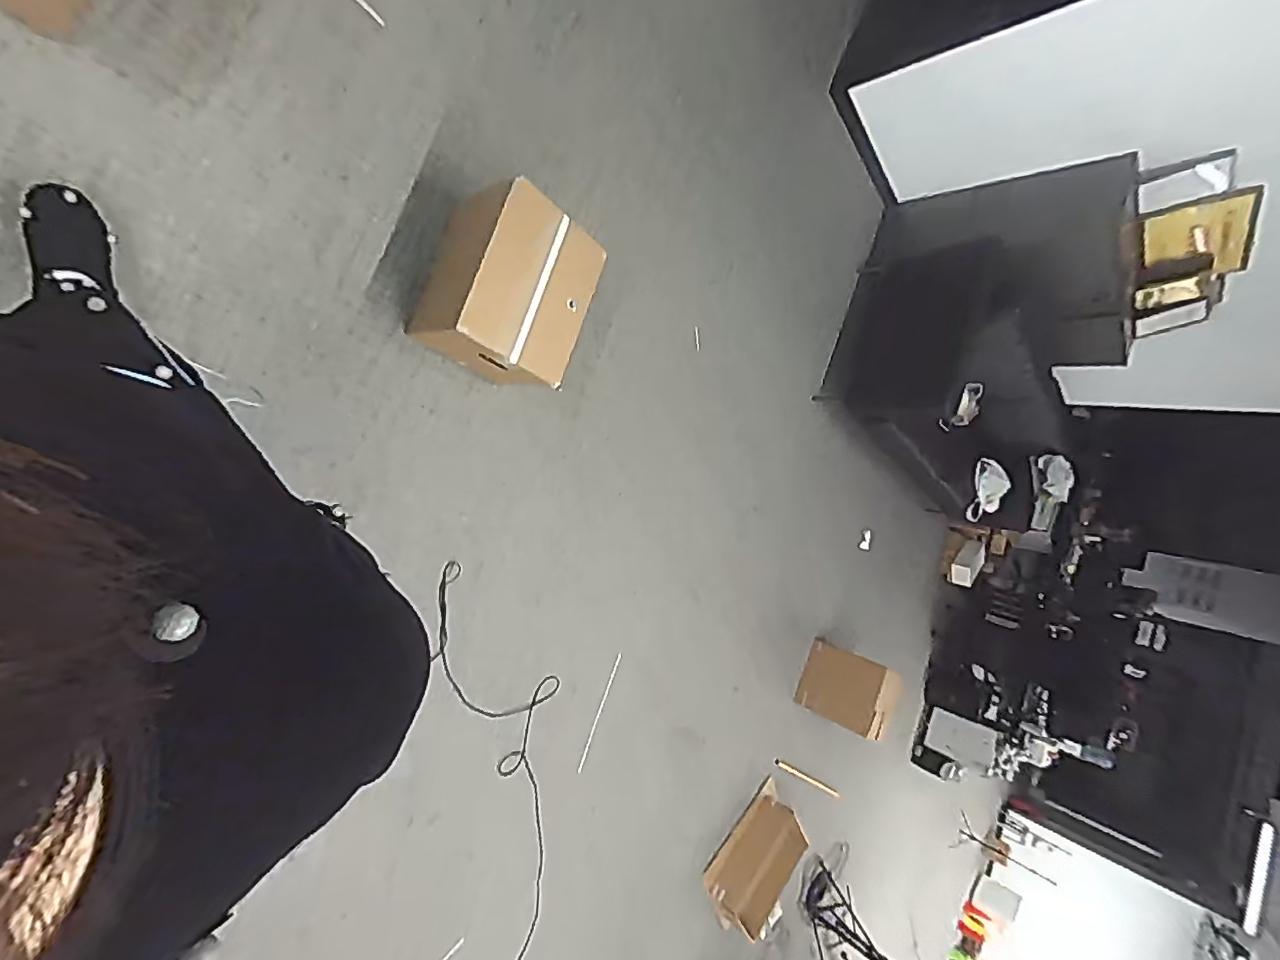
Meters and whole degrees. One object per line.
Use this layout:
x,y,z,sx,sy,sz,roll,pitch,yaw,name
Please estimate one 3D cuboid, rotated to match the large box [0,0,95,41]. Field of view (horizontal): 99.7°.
-0.956,-0.985,0.777,0.320,0.320,0.408,26,80,-43,large box
